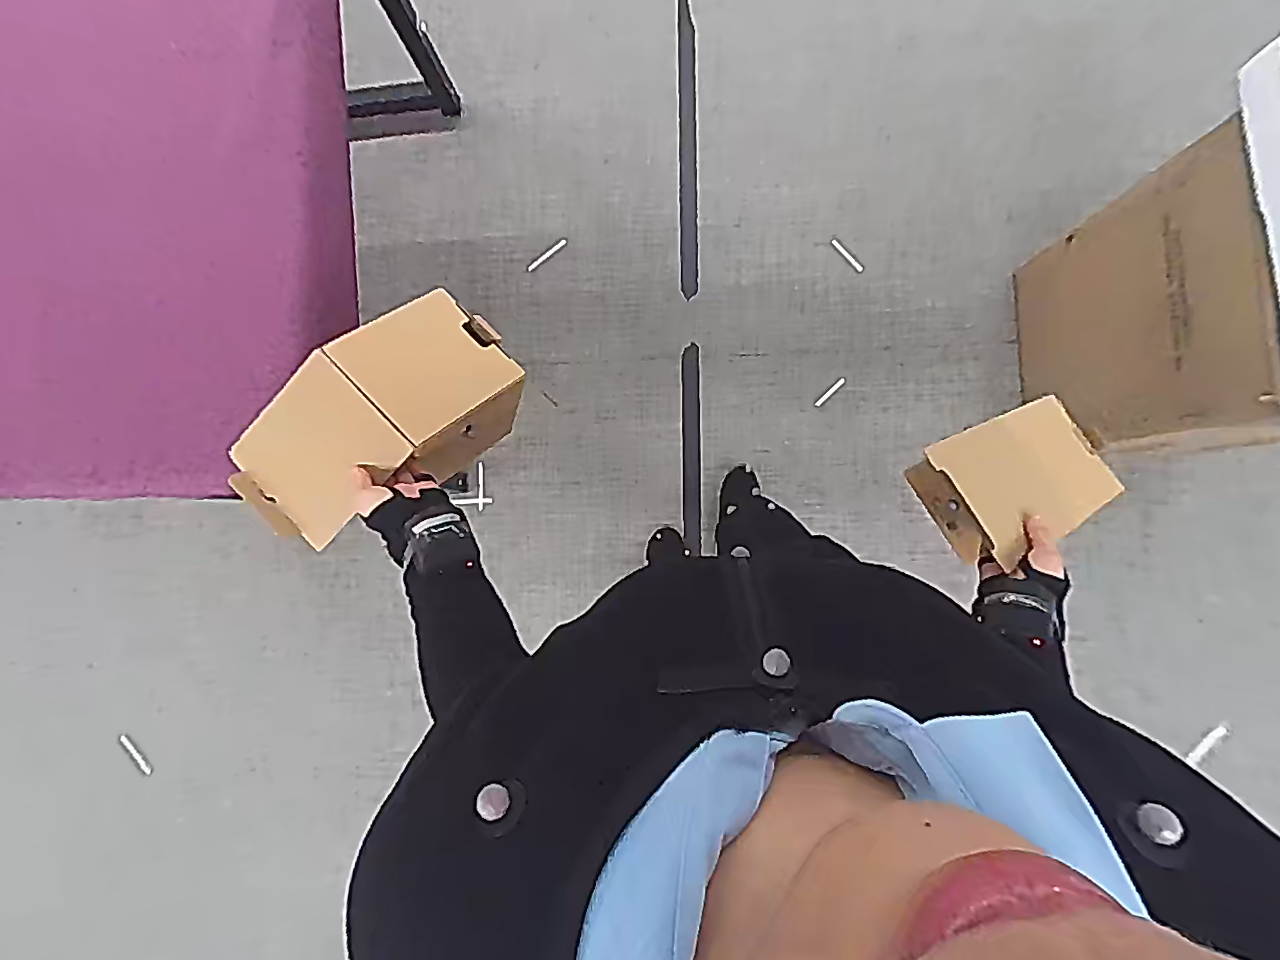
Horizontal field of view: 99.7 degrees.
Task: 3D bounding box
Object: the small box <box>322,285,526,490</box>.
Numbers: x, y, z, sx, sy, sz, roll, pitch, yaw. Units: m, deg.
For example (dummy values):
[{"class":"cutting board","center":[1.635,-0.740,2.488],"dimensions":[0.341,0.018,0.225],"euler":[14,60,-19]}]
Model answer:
[{"class":"small box","center":[-0.279,-0.115,0.721],"dimensions":[0.168,0.176,0.179],"euler":[45,59,3]}]
